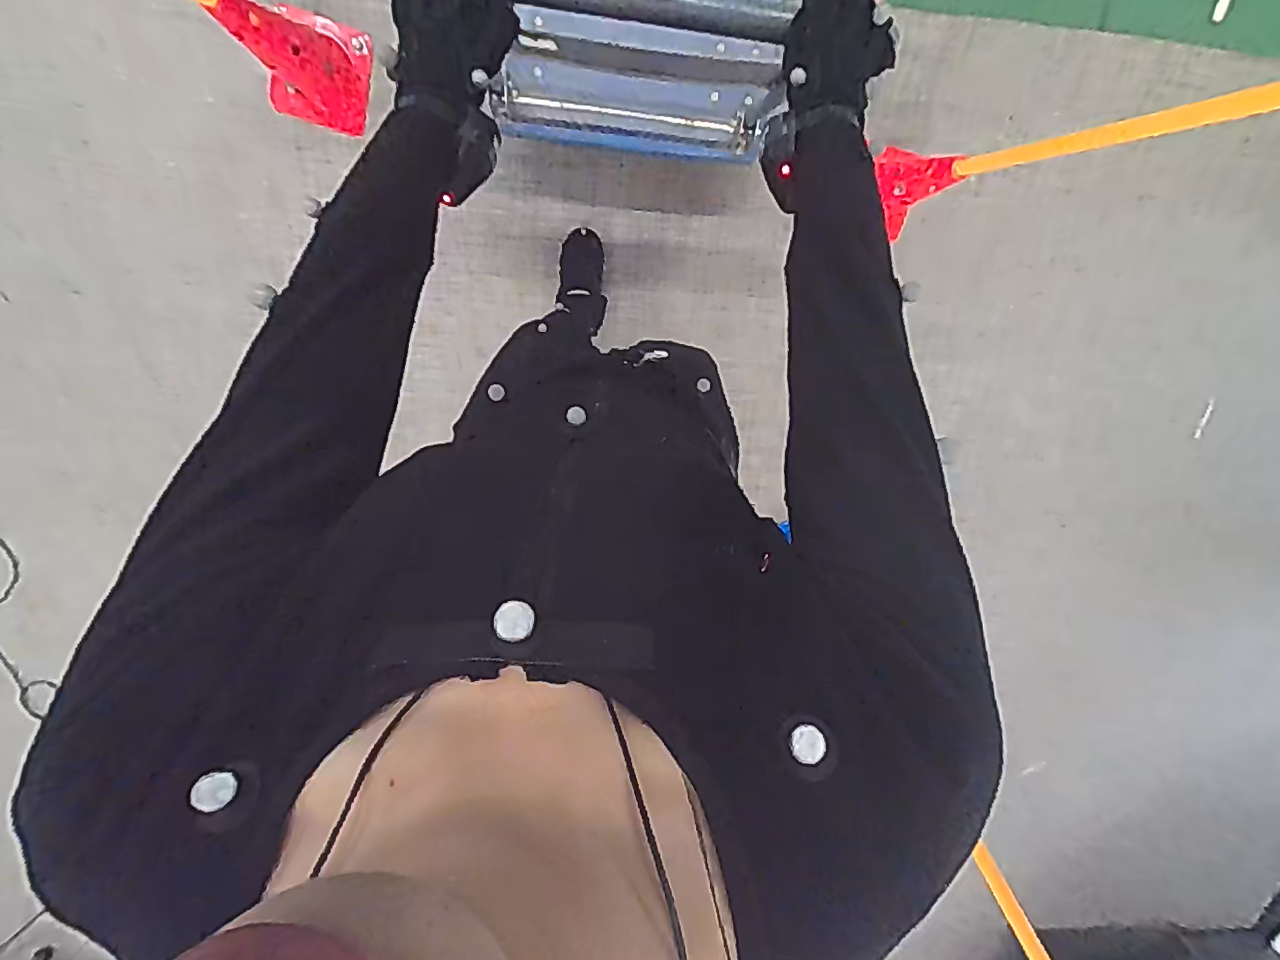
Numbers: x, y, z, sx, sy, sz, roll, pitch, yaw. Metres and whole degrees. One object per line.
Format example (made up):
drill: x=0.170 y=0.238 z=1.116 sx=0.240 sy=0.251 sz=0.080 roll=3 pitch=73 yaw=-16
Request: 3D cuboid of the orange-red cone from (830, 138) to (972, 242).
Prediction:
orange-red cone: x=0.589 y=-0.643 z=1.161 sx=0.198 sy=0.360 sz=0.199 roll=13 pitch=110 yaw=-8
